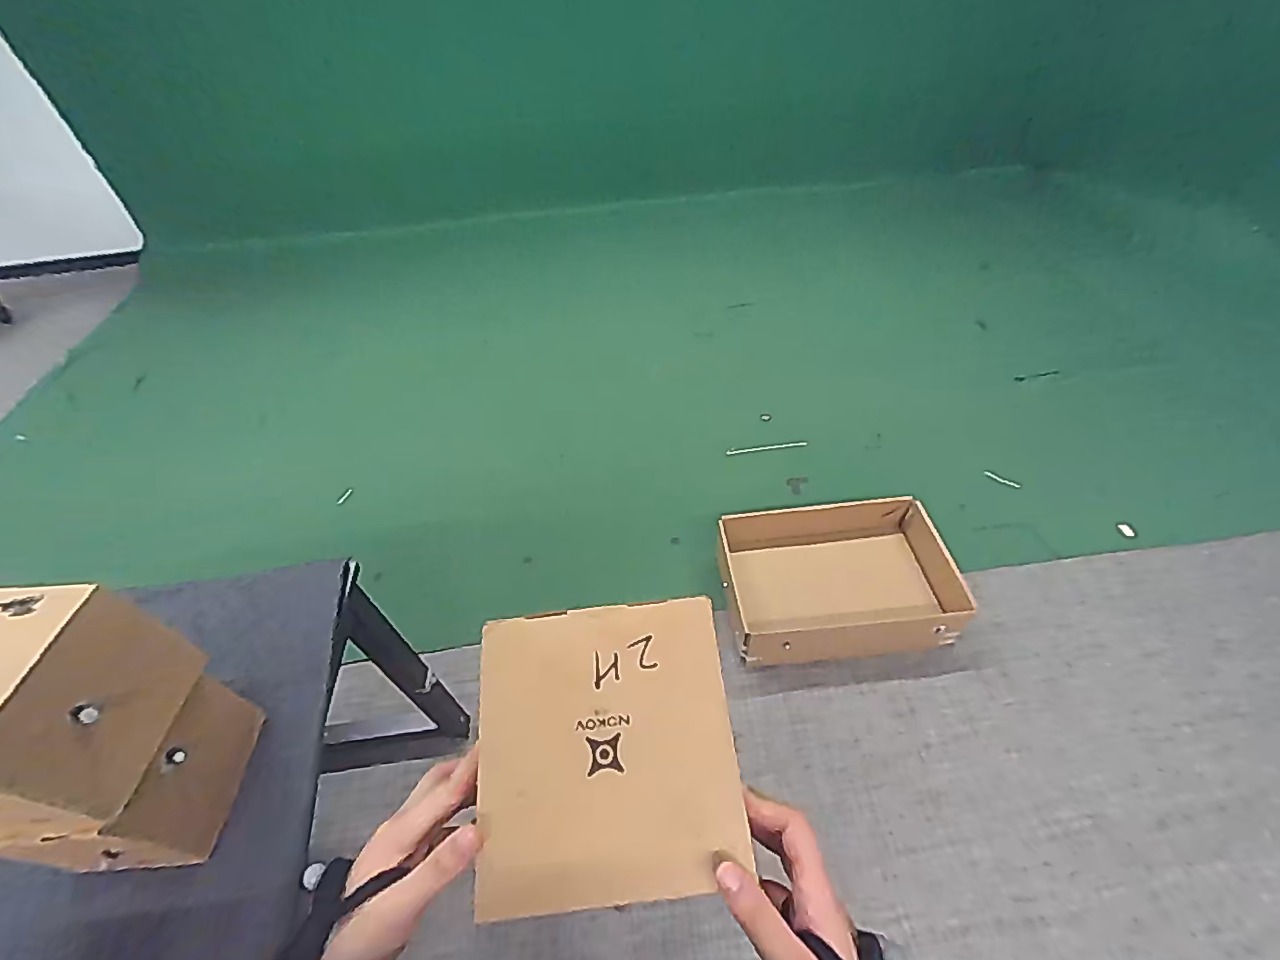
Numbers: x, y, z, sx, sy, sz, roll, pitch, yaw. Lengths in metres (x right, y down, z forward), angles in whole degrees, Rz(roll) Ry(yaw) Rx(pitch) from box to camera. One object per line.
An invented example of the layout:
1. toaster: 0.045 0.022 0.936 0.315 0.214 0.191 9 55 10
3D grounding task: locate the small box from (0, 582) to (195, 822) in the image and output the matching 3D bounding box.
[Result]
1. small box: -0.594 0.218 0.522 0.168 0.176 0.179 -3 48 2

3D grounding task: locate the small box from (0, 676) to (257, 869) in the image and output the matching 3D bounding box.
1. small box: -0.600 0.339 0.634 0.168 0.176 0.179 -5 46 0
